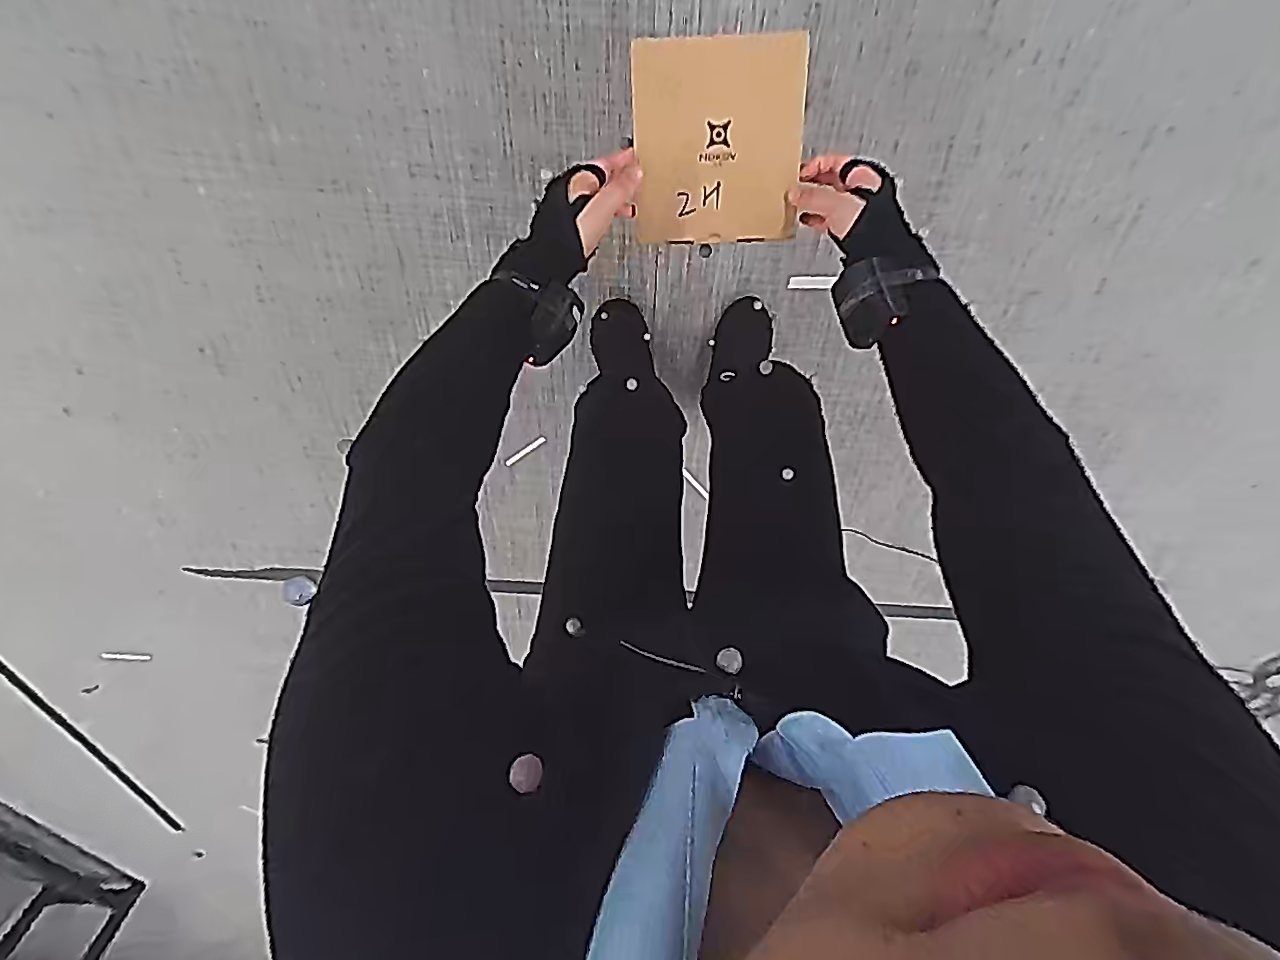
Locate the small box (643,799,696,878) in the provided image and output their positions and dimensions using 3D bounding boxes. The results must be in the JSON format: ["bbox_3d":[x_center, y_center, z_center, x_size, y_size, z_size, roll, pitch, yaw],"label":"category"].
[{"bbox_3d":[0.097,1.175,1.772,0.168,0.176,0.179,-1,125,2],"label":"small box"}]
